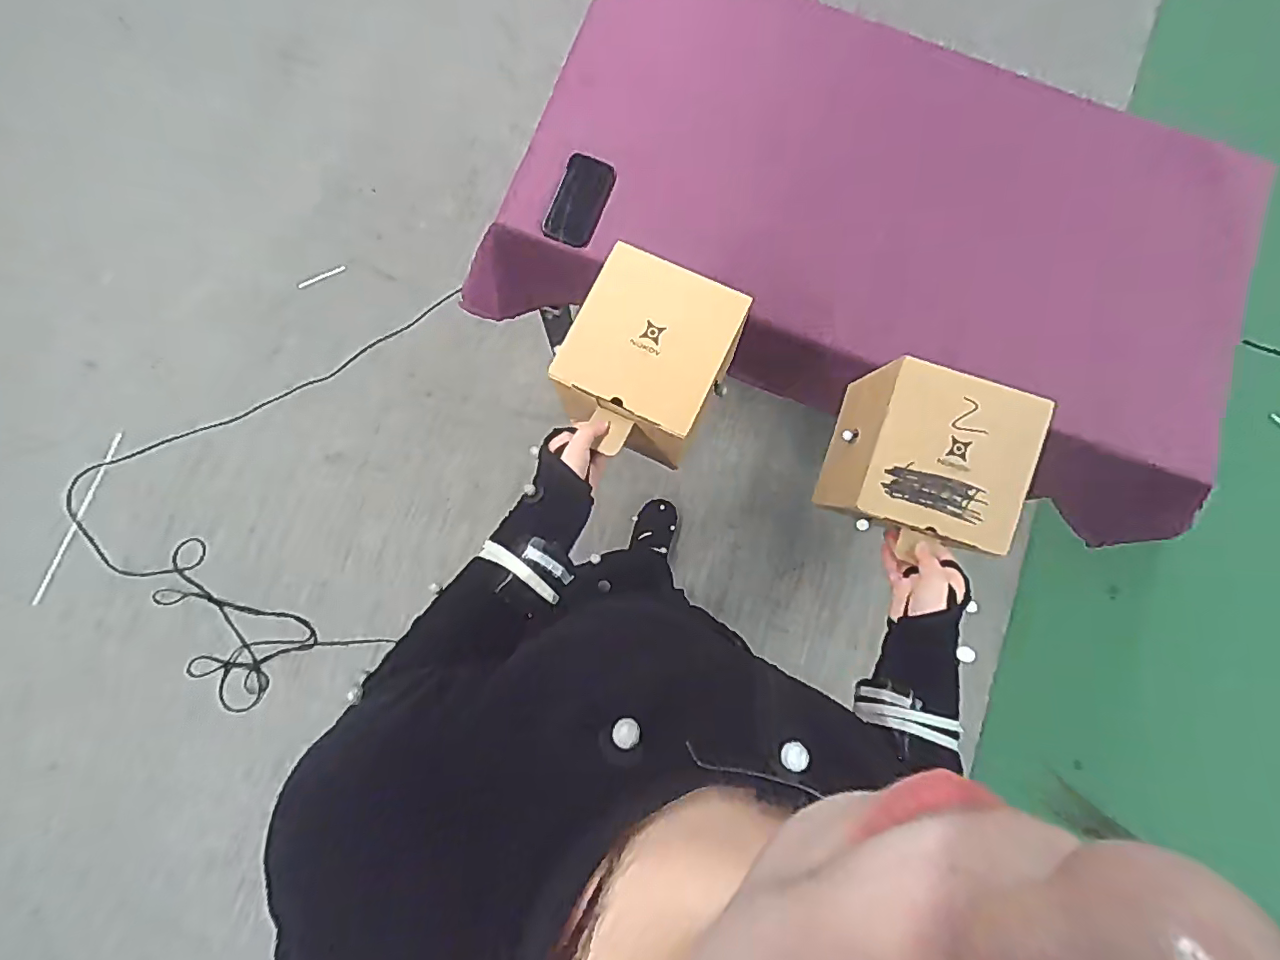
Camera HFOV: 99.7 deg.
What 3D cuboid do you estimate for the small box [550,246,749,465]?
[{"bbox_3d":[0.012,-0.139,0.664,0.168,0.176,0.179,25,82,5],"label":"small box"}]
